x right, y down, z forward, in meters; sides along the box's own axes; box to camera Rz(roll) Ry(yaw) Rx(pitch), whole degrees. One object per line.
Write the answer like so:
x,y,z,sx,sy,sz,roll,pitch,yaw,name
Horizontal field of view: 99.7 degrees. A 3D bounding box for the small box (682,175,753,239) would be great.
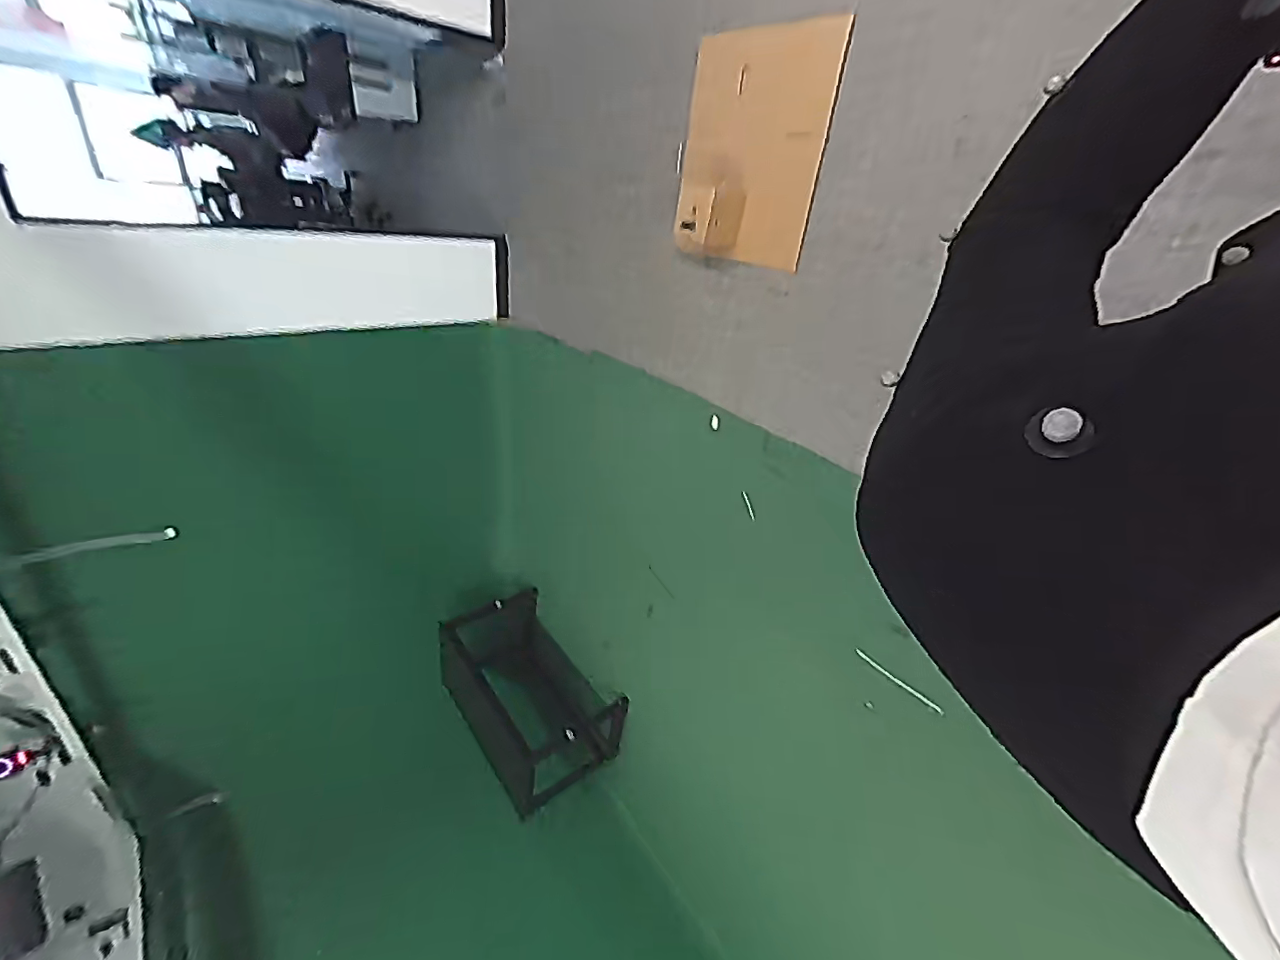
0.278,-0.970,1.931,0.168,0.176,0.179,39,131,37,small box
